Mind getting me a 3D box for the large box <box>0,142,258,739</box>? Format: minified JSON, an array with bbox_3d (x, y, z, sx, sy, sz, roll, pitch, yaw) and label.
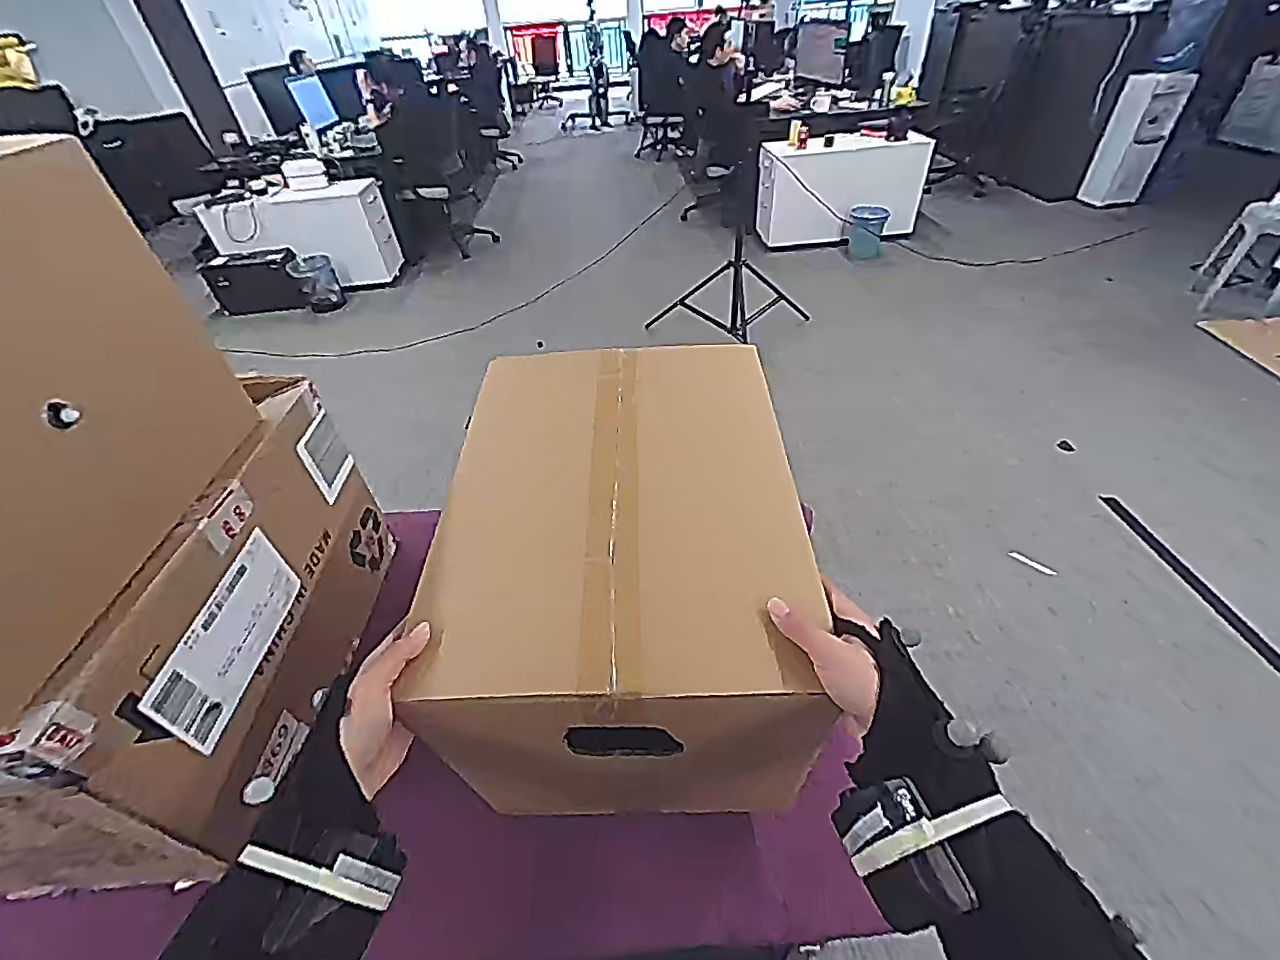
[{"bbox_3d":[-0.615,-0.042,0.432,0.320,0.320,0.408,-7,42,0],"label":"large box"}]
